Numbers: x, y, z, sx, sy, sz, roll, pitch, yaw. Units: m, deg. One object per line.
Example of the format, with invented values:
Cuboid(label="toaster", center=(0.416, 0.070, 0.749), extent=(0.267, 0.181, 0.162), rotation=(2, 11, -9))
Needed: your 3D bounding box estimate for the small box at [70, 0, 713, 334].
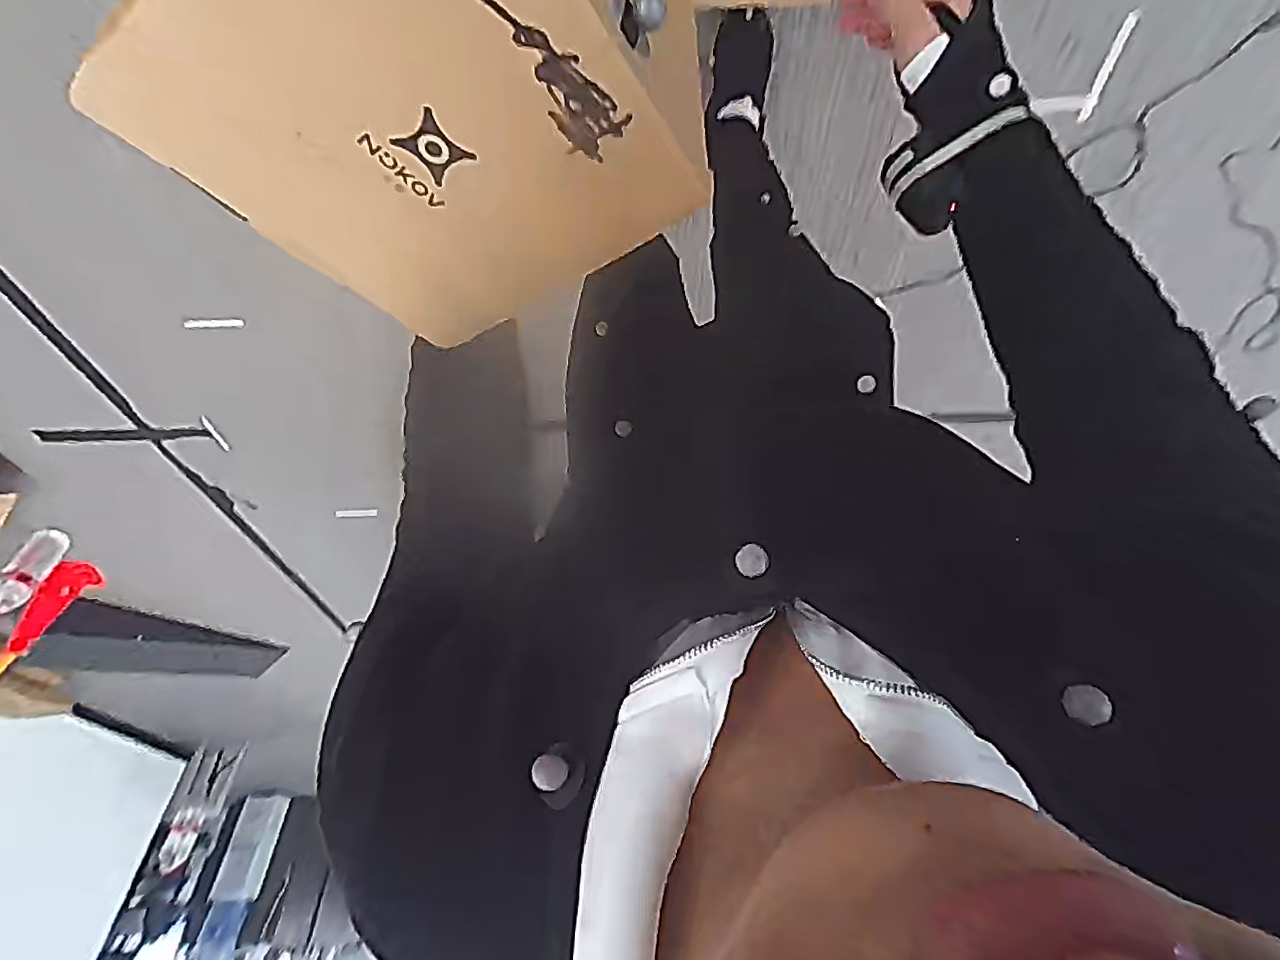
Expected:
Cuboid(label="small box", center=(-0.081, -0.202, 0.237), extent=(0.179, 0.176, 0.168), rotation=(-15, 152, 31))
